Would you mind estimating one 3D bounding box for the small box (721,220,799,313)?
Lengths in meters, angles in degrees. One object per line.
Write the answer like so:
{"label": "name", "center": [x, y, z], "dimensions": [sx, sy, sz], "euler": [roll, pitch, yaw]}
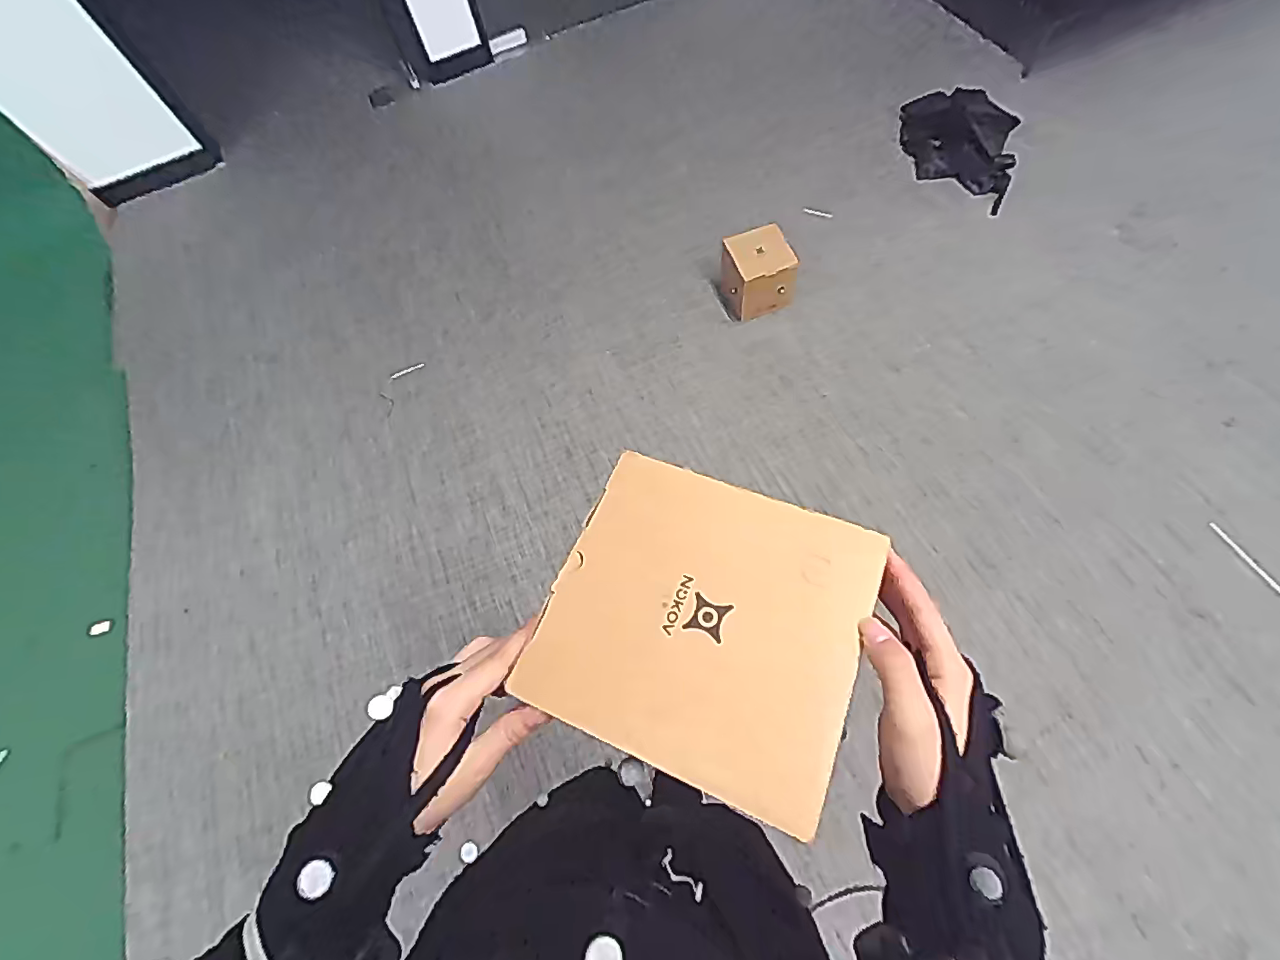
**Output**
{"label": "small box", "center": [0.343, -0.614, 1.581], "dimensions": [0.168, 0.176, 0.179], "euler": [-18, 64, -3]}
